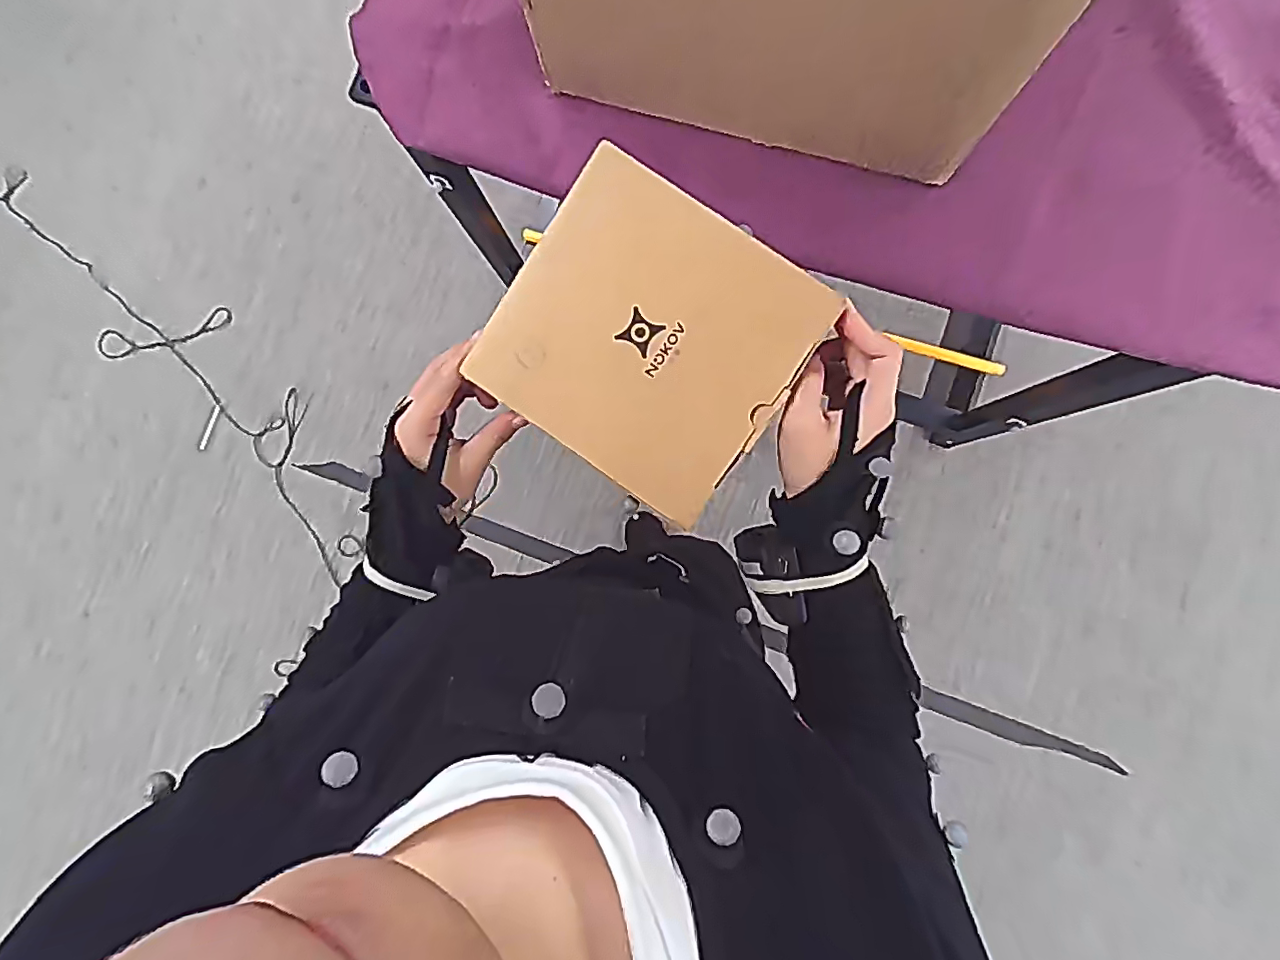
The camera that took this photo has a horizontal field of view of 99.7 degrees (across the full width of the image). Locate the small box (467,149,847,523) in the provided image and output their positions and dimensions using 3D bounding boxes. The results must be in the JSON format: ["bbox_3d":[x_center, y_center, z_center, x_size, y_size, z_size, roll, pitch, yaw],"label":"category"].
[{"bbox_3d":[0.013,-0.089,0.405,0.179,0.176,0.168,34,96,2],"label":"small box"}]
